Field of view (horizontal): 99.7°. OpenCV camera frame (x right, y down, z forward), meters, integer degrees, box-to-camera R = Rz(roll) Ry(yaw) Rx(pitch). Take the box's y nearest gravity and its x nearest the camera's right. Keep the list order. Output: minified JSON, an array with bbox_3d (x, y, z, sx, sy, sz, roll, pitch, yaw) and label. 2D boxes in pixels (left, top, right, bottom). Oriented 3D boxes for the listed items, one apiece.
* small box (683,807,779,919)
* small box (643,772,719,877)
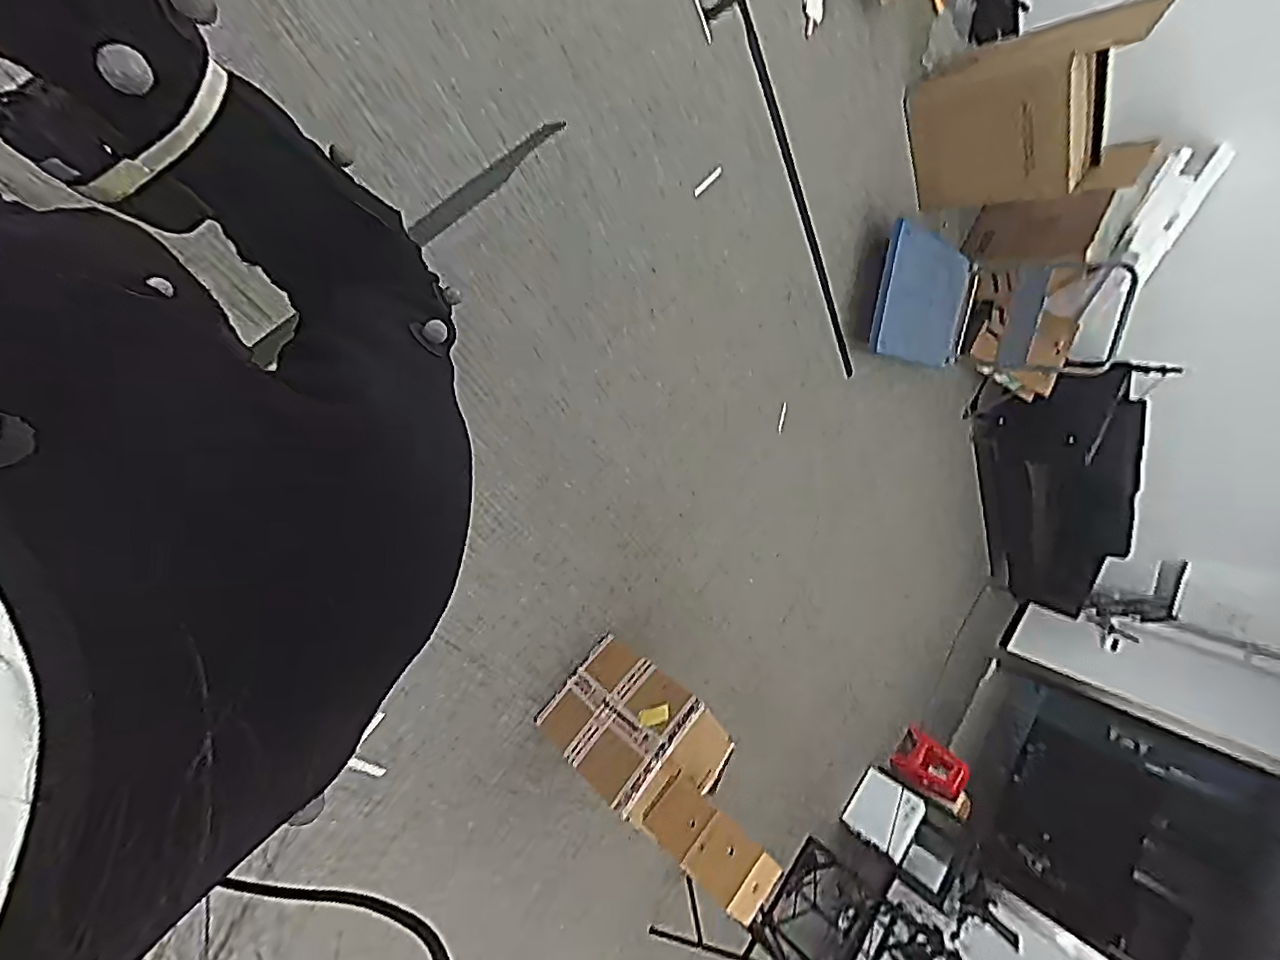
[{"bbox_3d":[0.246,1.039,1.481,0.168,0.176,0.179,-46,128,-20],"label":"small box"},{"bbox_3d":[0.141,1.013,1.603,0.179,0.176,0.168,-43,126,-21],"label":"small box"}]
